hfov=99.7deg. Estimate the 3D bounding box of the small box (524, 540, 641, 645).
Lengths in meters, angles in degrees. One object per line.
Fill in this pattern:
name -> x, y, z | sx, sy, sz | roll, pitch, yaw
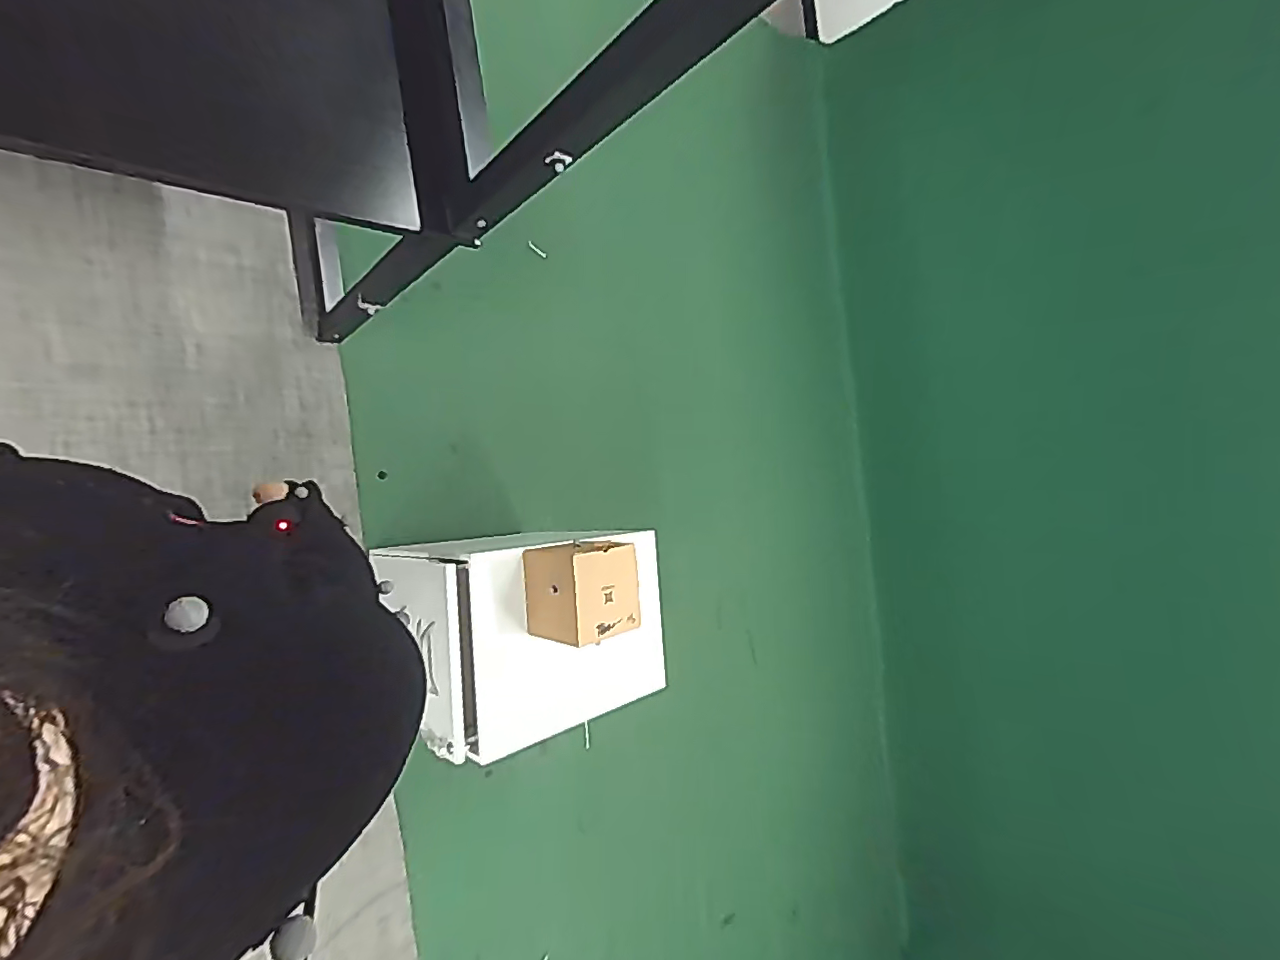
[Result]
small box -> -0.119, 0.217, 1.091 | 0.168, 0.176, 0.179 | -4, 89, -45
